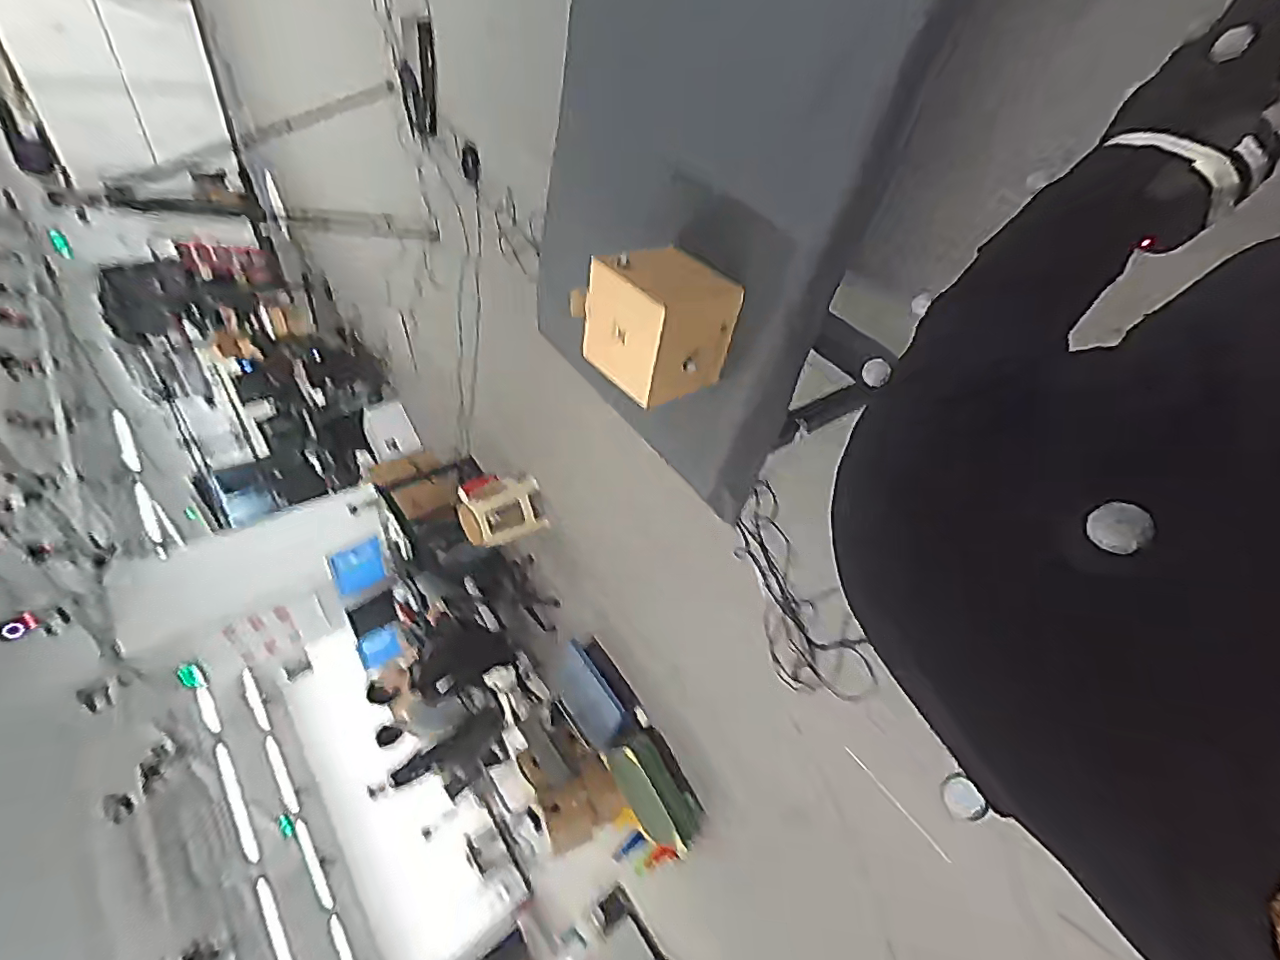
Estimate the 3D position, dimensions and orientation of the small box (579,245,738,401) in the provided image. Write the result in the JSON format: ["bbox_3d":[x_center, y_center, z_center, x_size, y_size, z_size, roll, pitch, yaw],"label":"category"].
[{"bbox_3d":[0.026,-0.257,0.855,0.179,0.176,0.168,44,141,30],"label":"small box"}]
